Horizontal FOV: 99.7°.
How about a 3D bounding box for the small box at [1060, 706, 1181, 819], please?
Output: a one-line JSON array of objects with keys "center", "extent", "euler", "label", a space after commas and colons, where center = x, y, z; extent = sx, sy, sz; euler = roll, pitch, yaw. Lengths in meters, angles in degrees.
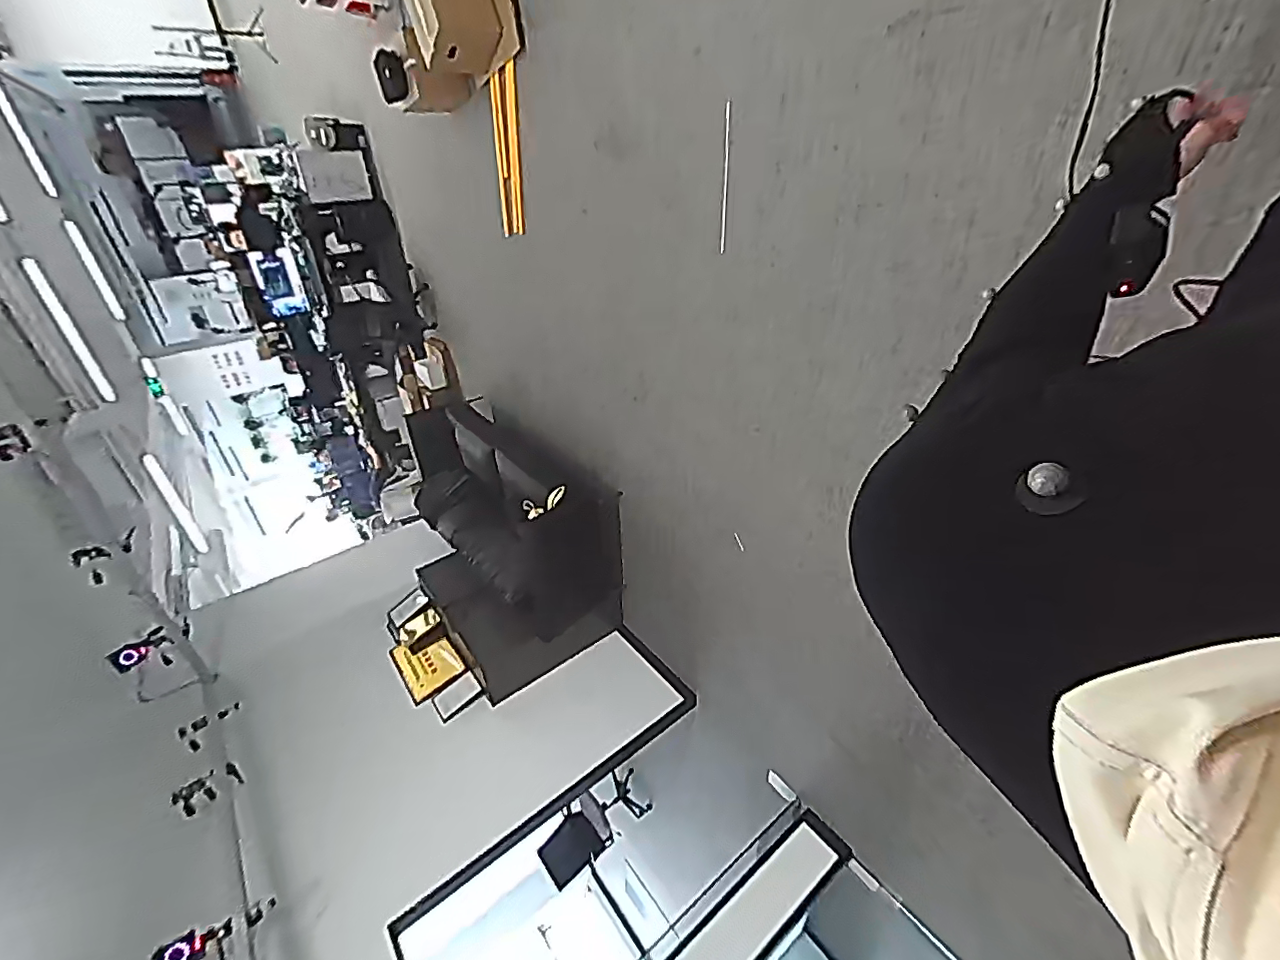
[{"center": [1.290, 0.753, 1.451], "extent": [0.168, 0.176, 0.179], "euler": [38, 141, 39], "label": "small box"}]
